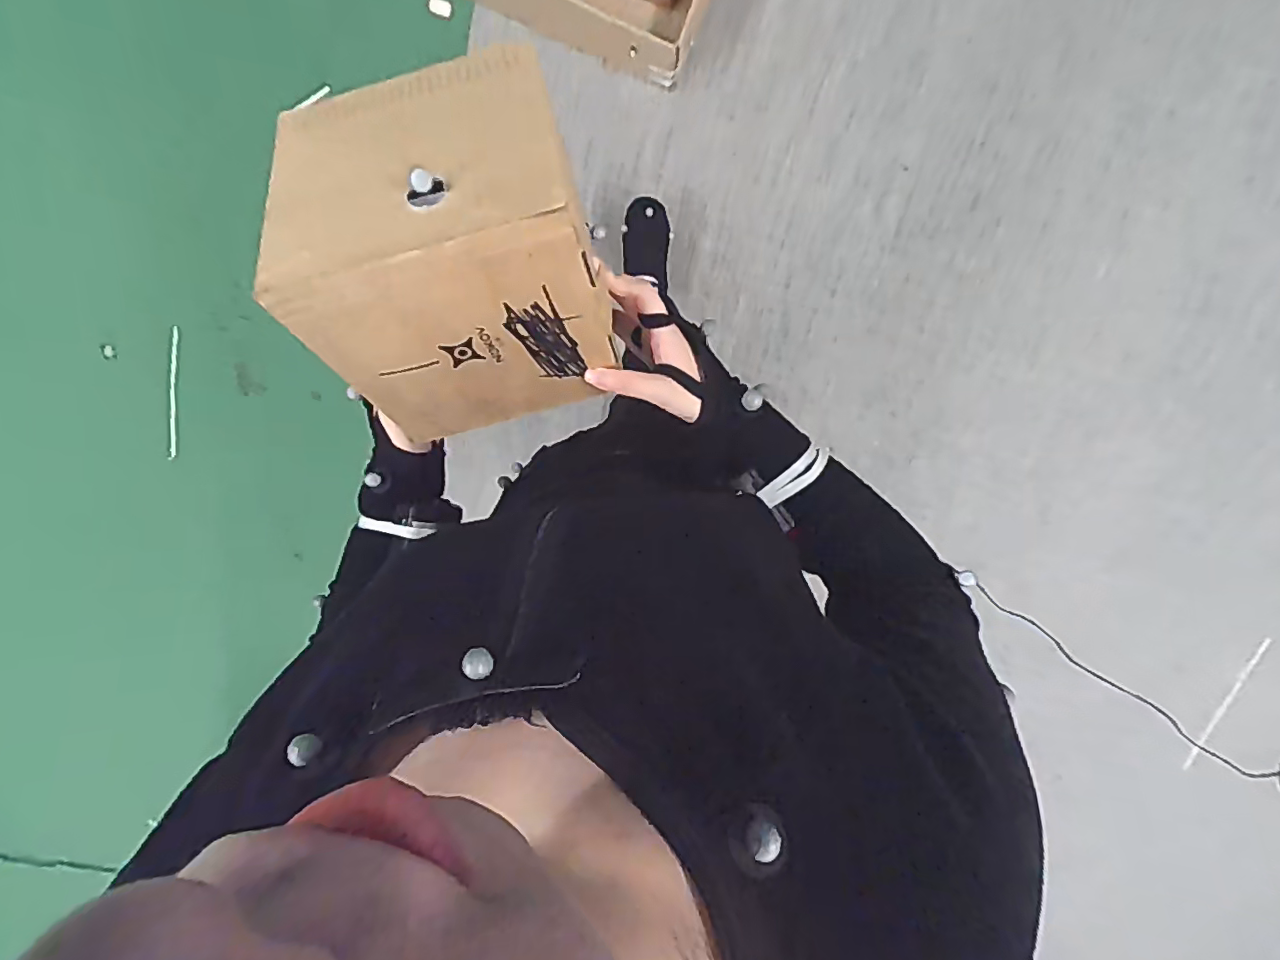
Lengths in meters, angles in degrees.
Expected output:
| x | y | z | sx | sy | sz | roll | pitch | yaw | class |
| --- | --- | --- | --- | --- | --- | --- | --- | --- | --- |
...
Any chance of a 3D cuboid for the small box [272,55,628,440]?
| x | y | z | sx | sy | sz | roll | pitch | yaw | class |
| --- | --- | --- | --- | --- | --- | --- | --- | --- | --- |
| -0.120 | -0.157 | 0.388 | 0.179 | 0.168 | 0.176 | -14 | 64 | 3 | small box |
